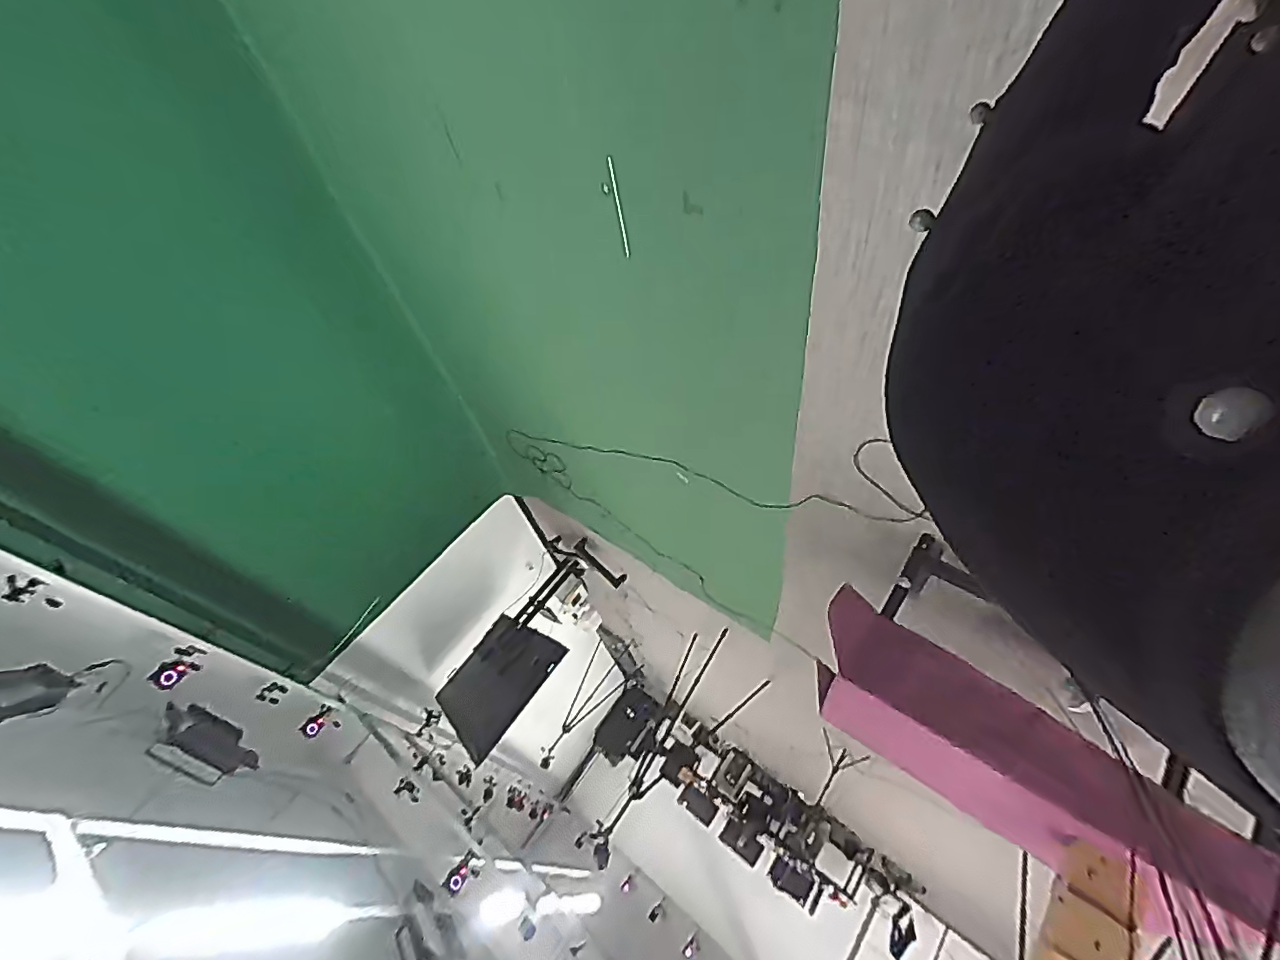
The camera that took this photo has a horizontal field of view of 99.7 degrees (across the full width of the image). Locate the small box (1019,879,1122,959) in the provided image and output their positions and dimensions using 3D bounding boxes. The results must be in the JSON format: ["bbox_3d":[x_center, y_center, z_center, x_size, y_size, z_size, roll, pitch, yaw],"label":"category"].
[{"bbox_3d":[1.264,1.316,1.593,0.179,0.176,0.168,25,152,33],"label":"small box"}]

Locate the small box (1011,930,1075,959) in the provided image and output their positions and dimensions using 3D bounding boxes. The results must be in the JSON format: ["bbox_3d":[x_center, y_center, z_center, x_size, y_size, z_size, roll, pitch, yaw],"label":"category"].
[{"bbox_3d":[1.156,1.418,1.525,0.168,0.176,0.179,24,152,37],"label":"small box"}]

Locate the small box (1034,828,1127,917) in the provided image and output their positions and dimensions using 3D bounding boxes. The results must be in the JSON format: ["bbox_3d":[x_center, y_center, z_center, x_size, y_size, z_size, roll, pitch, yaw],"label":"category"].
[{"bbox_3d":[1.366,1.217,1.678,0.168,0.176,0.179,26,153,33],"label":"small box"}]
